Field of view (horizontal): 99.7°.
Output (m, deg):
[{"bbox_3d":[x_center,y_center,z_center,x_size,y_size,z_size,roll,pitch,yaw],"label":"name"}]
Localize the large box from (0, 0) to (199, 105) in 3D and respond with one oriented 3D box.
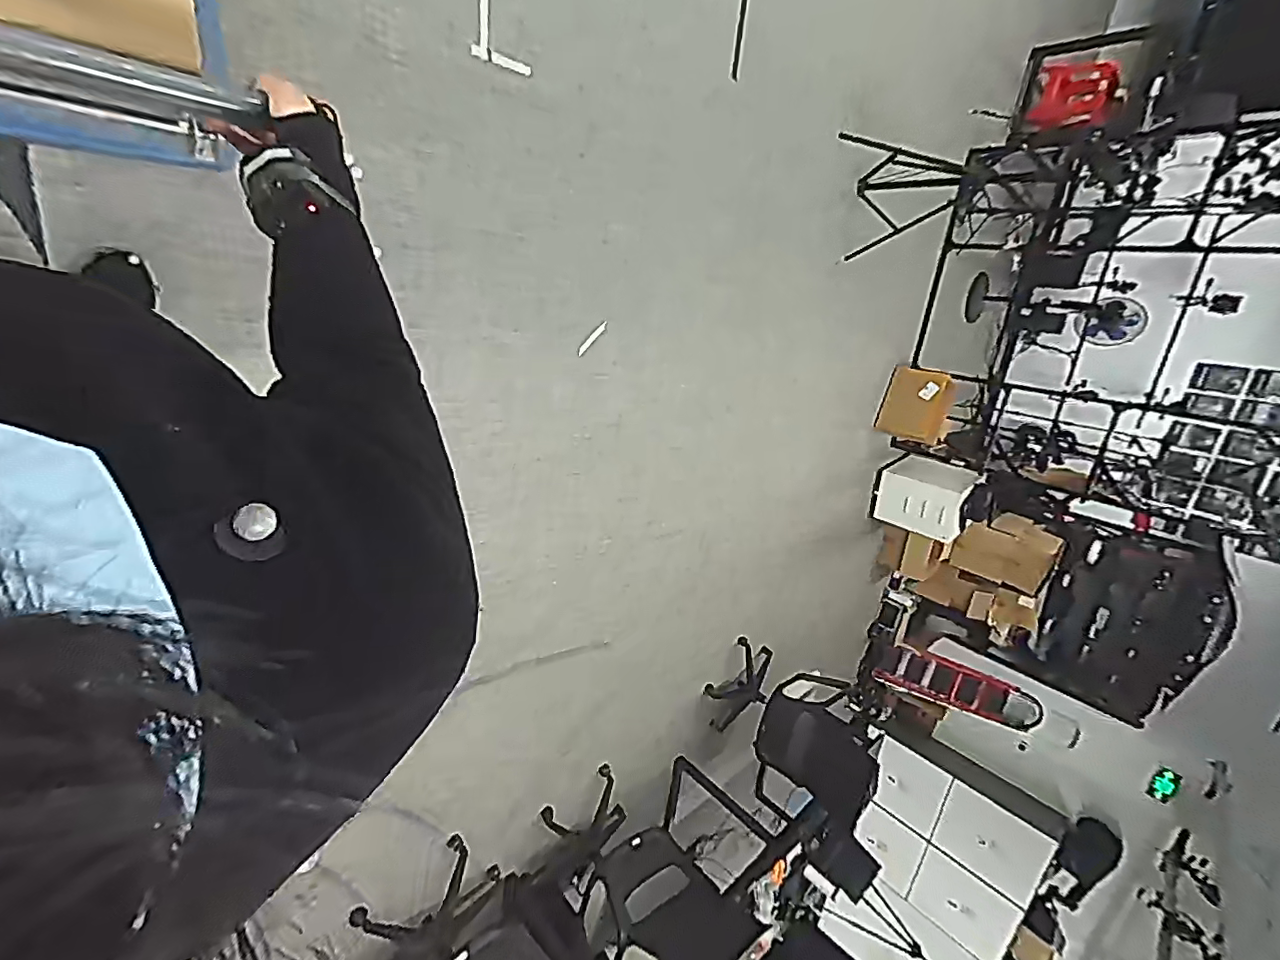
[{"bbox_3d":[-0.824,-0.695,0.635,0.408,0.320,0.320,-14,118,-43],"label":"large box"}]
